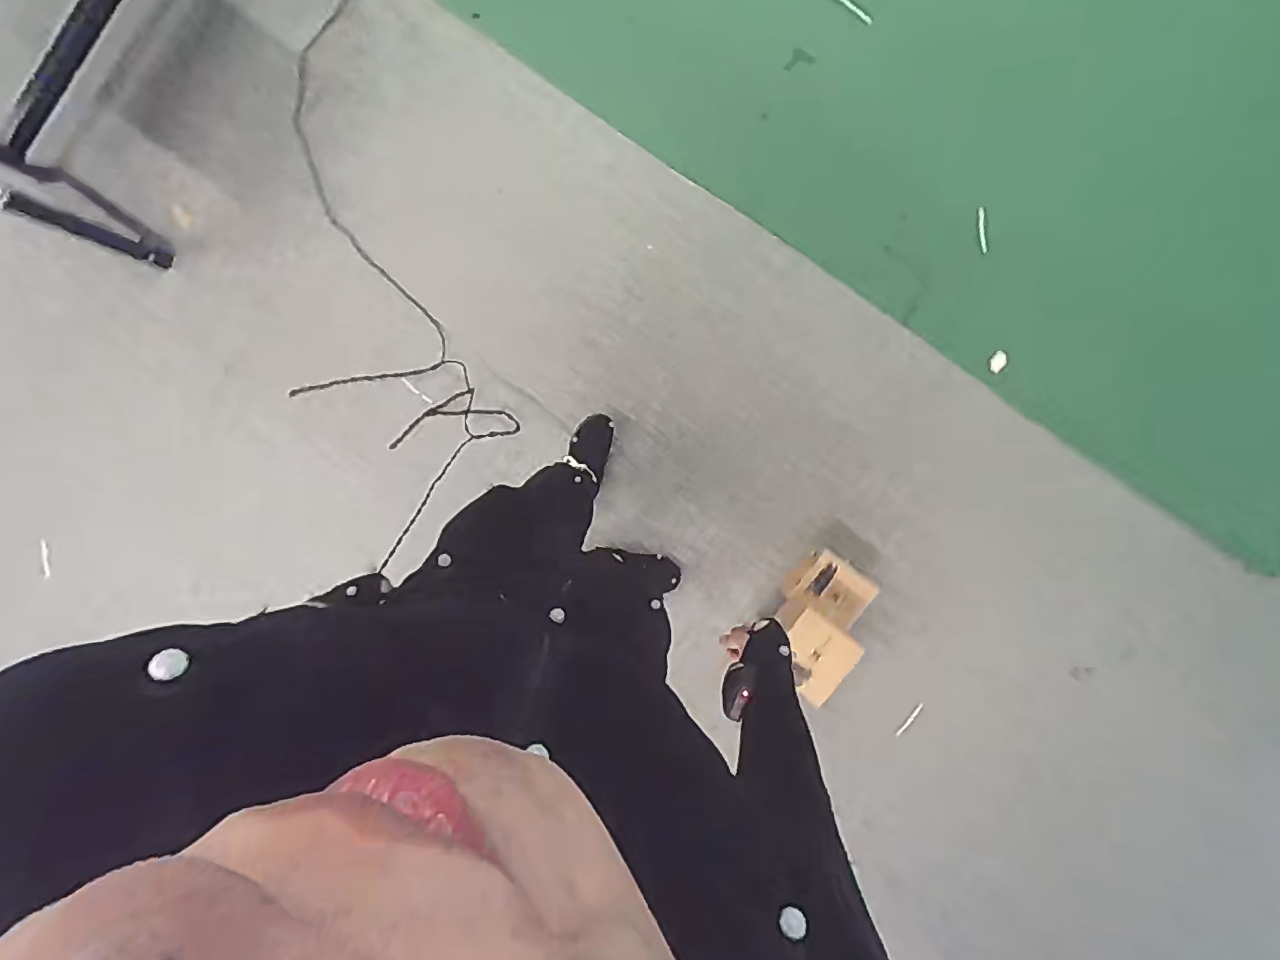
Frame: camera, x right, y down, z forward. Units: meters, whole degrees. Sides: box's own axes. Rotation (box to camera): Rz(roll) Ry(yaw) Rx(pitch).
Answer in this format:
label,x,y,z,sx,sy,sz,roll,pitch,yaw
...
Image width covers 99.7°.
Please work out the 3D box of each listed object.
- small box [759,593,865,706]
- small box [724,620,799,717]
label,x,y,z,sx,sy,sz,roll,pitch,yaw
small box,0.407,0.404,1.319,0.168,0.176,0.179,39,93,4
small box,0.348,0.506,1.489,0.179,0.176,0.168,37,93,4
